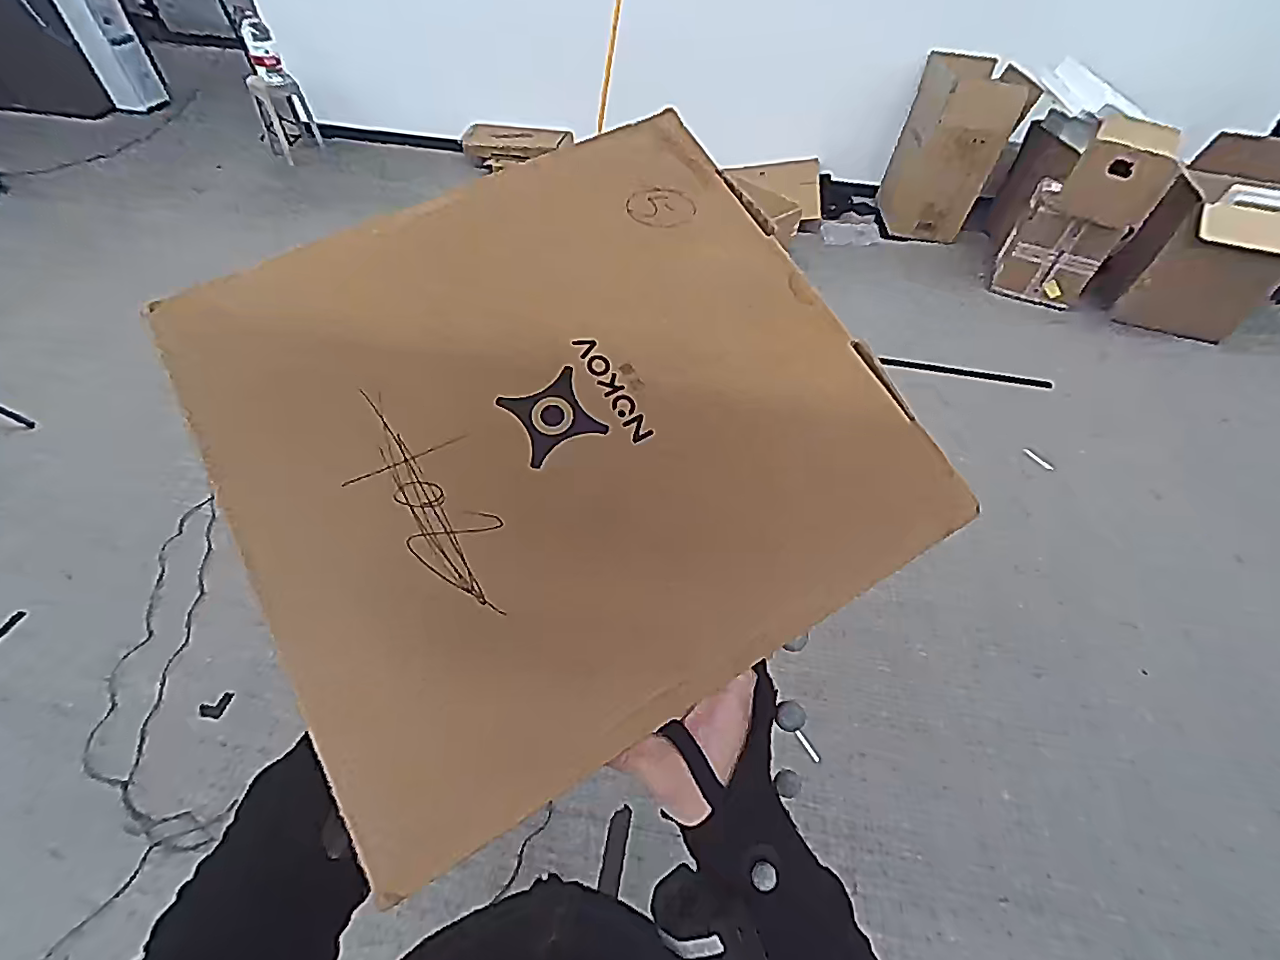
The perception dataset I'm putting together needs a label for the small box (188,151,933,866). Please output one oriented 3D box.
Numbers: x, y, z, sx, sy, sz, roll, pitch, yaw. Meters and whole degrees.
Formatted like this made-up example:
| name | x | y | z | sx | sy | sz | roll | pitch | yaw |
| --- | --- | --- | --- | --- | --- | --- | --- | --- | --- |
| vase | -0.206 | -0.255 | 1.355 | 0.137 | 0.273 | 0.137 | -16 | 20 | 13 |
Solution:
| name | x | y | z | sx | sy | sz | roll | pitch | yaw |
| --- | --- | --- | --- | --- | --- | --- | --- | --- | --- |
| small box | -0.029 | 0.010 | 0.240 | 0.179 | 0.176 | 0.168 | -30 | 76 | -12 |
